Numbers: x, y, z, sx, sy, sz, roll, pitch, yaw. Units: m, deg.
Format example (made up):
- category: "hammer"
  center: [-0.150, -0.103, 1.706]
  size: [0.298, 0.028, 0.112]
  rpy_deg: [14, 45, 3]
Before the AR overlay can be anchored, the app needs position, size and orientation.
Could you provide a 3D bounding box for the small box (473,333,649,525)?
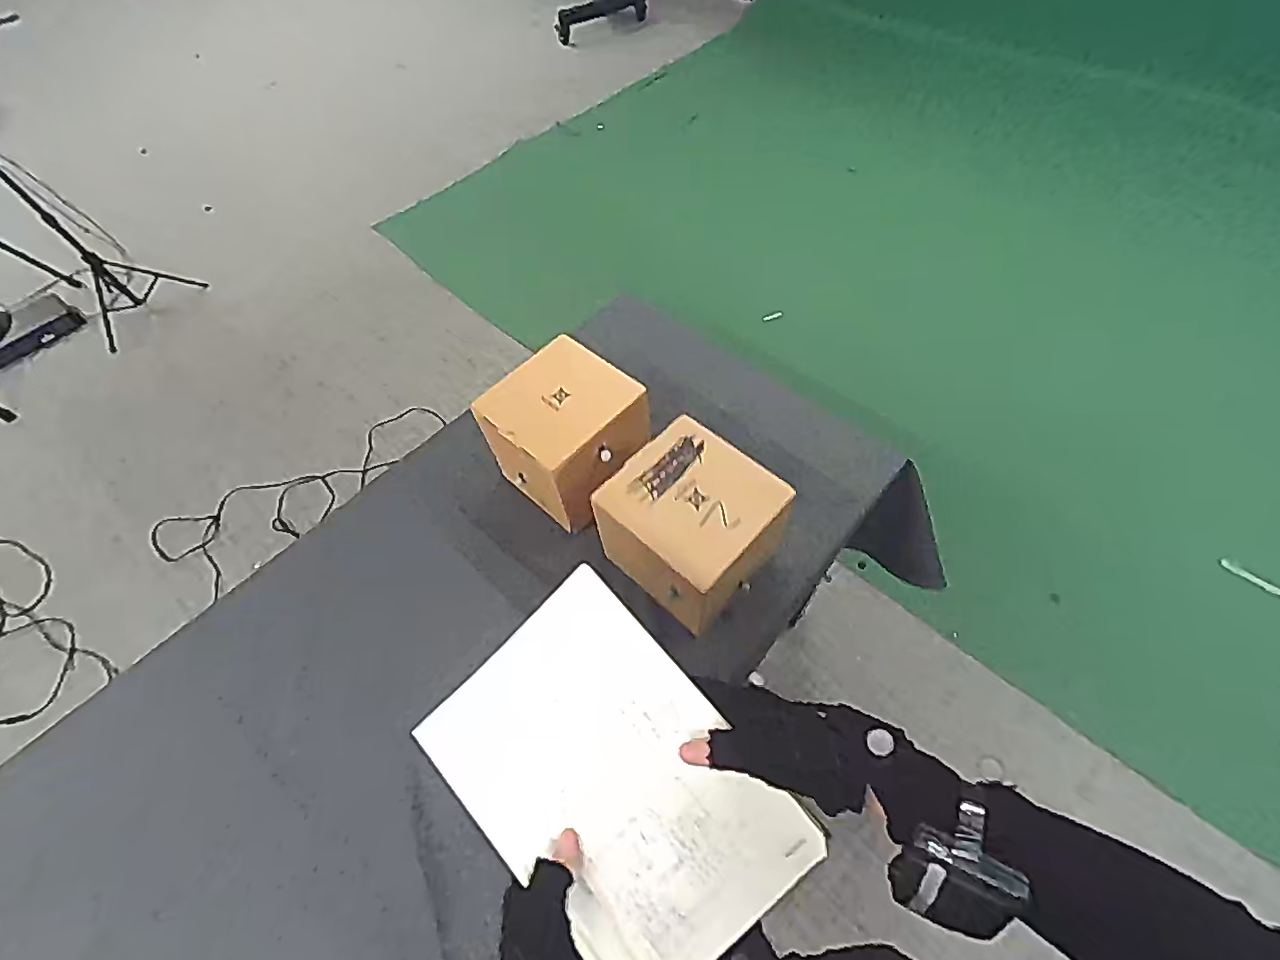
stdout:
- category: "small box"
  center: [-0.102, -0.070, 0.781]
  size: [0.168, 0.176, 0.179]
  rpy_deg: [37, 69, 23]
